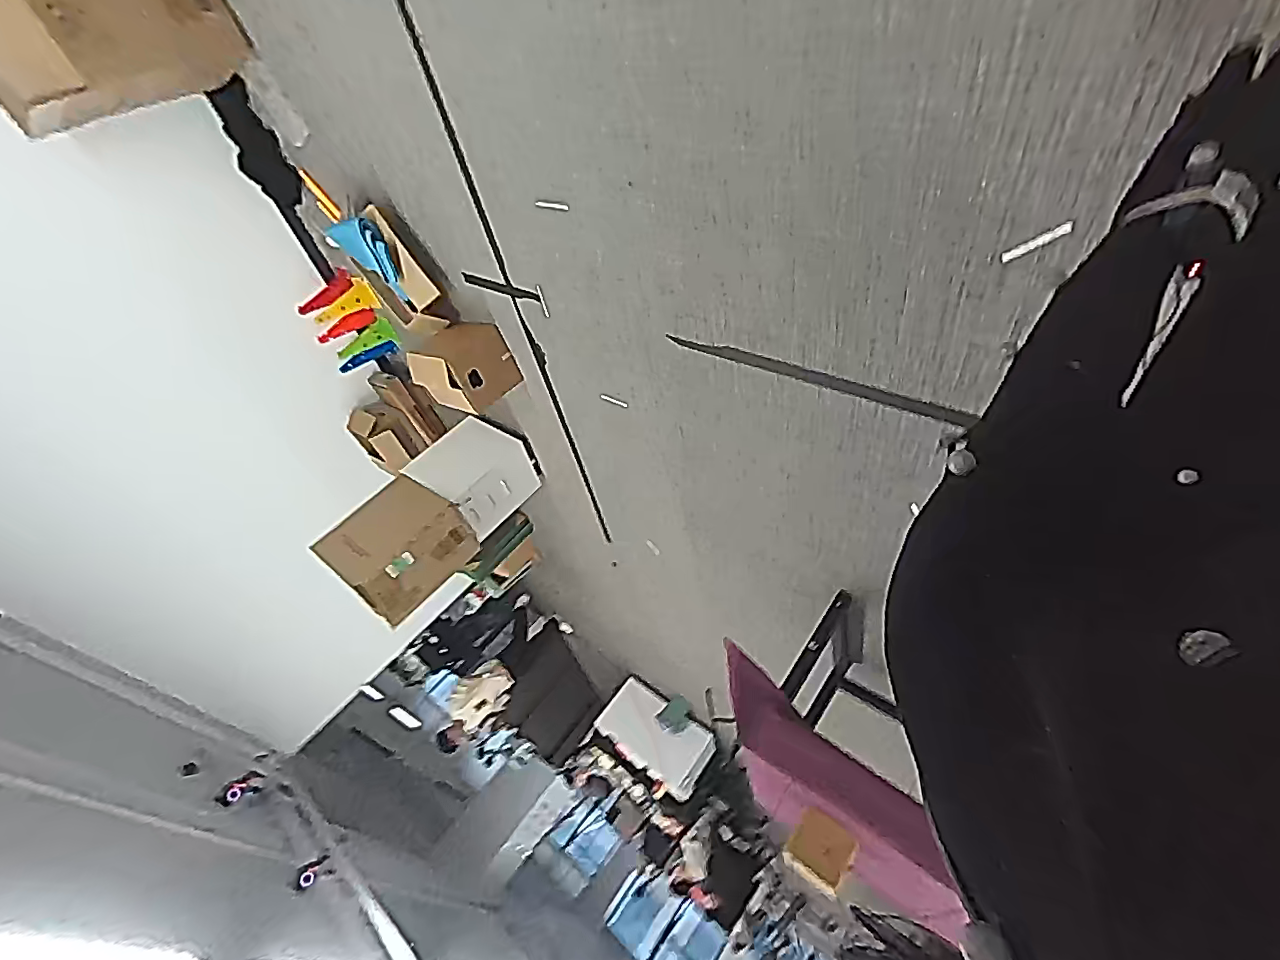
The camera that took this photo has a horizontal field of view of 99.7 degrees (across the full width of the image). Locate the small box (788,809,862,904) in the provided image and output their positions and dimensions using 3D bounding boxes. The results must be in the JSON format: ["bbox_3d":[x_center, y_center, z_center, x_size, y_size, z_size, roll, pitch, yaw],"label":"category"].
[{"bbox_3d":[0.596,1.199,1.730,0.179,0.176,0.168,21,145,36],"label":"small box"}]
